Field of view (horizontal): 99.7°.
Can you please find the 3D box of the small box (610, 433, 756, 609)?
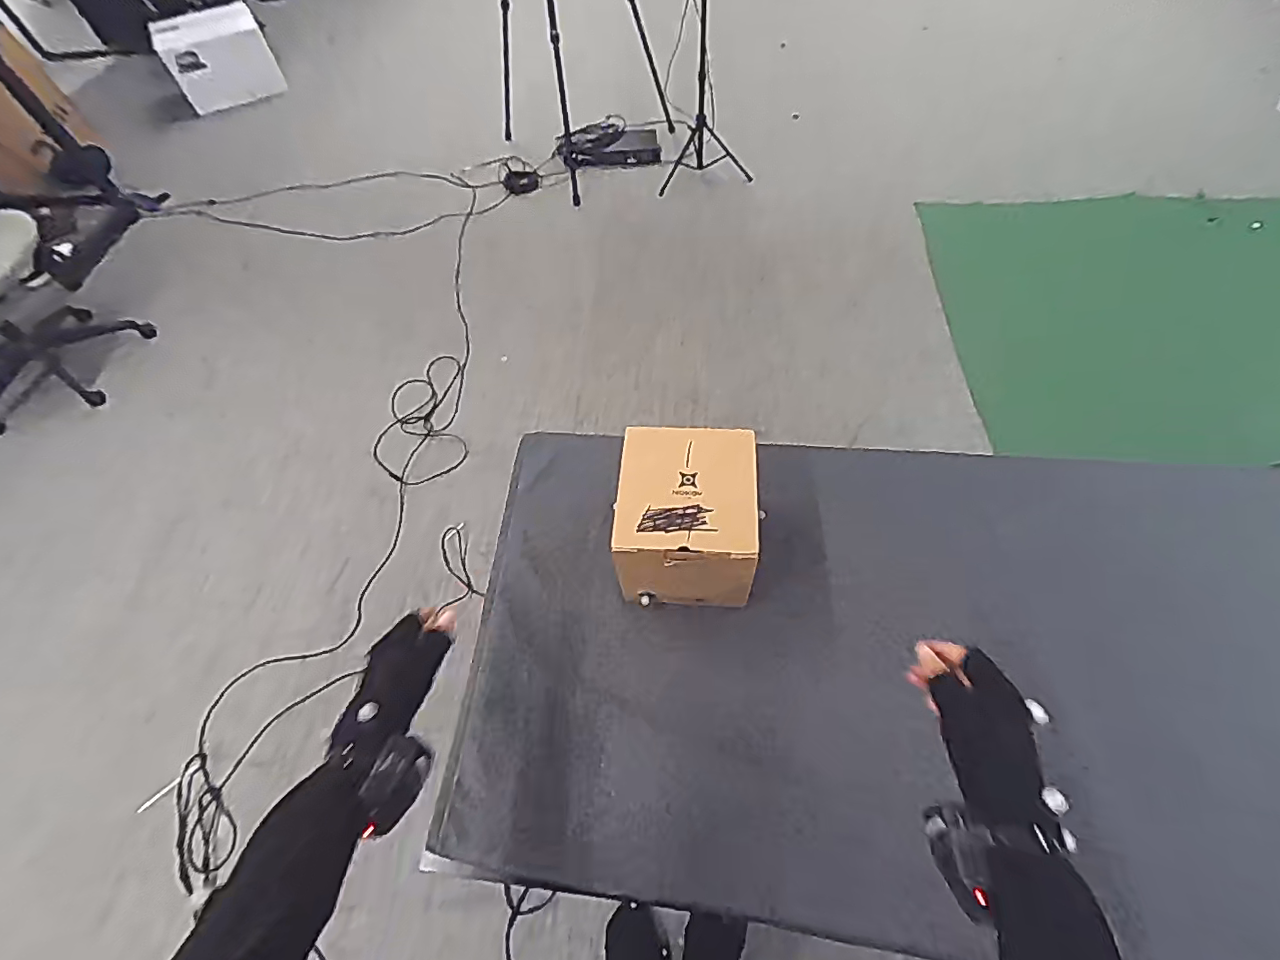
[{"bbox_3d":[0.061,0.058,0.709,0.168,0.176,0.179,2,57,6],"label":"small box"}]
